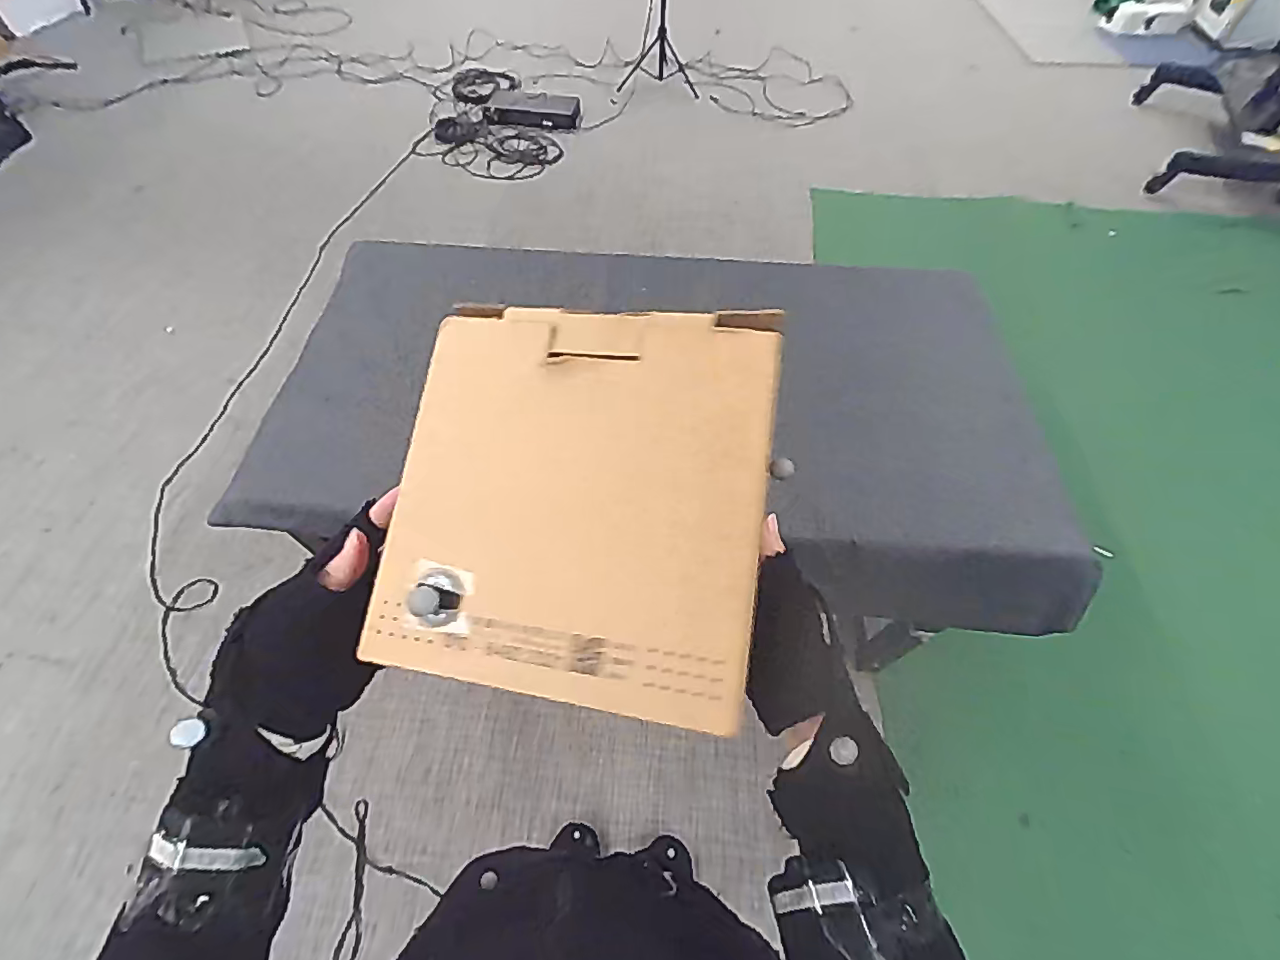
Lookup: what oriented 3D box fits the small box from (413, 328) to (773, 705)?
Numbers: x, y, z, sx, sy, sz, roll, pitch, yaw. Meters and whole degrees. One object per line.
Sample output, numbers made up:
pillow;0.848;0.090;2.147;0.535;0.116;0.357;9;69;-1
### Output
small box;-0.014;0.028;0.330;0.168;0.179;0.176;7;77;11
